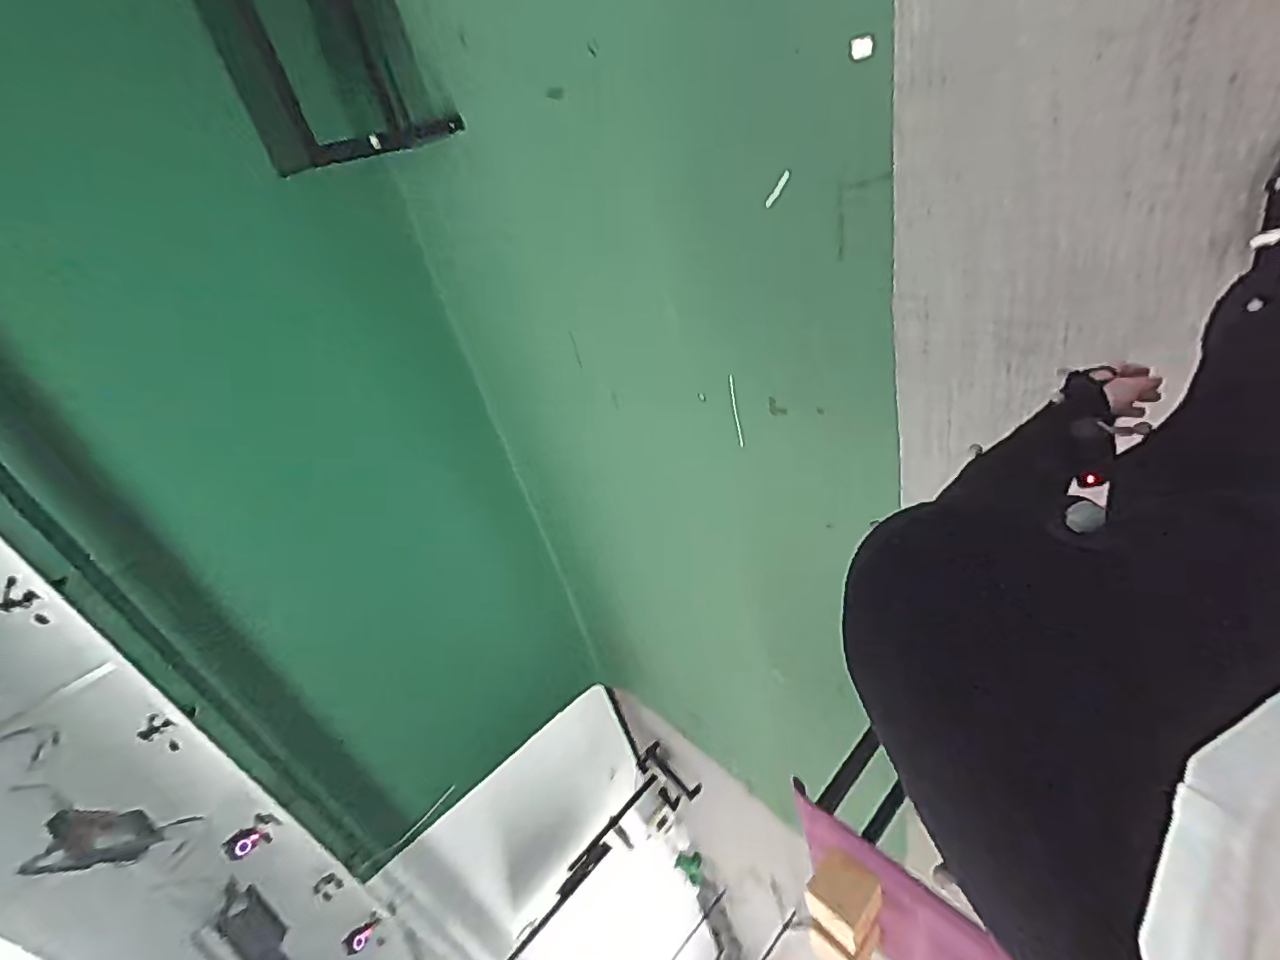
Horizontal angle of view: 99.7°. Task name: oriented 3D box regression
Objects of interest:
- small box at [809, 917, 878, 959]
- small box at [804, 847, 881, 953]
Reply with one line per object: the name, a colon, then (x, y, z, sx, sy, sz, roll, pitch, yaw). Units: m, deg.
small box: (0.703, 1.573, 1.860, 0.168, 0.176, 0.179, 19, 133, 44)
small box: (0.640, 1.312, 1.696, 0.168, 0.176, 0.179, 20, 137, 44)
